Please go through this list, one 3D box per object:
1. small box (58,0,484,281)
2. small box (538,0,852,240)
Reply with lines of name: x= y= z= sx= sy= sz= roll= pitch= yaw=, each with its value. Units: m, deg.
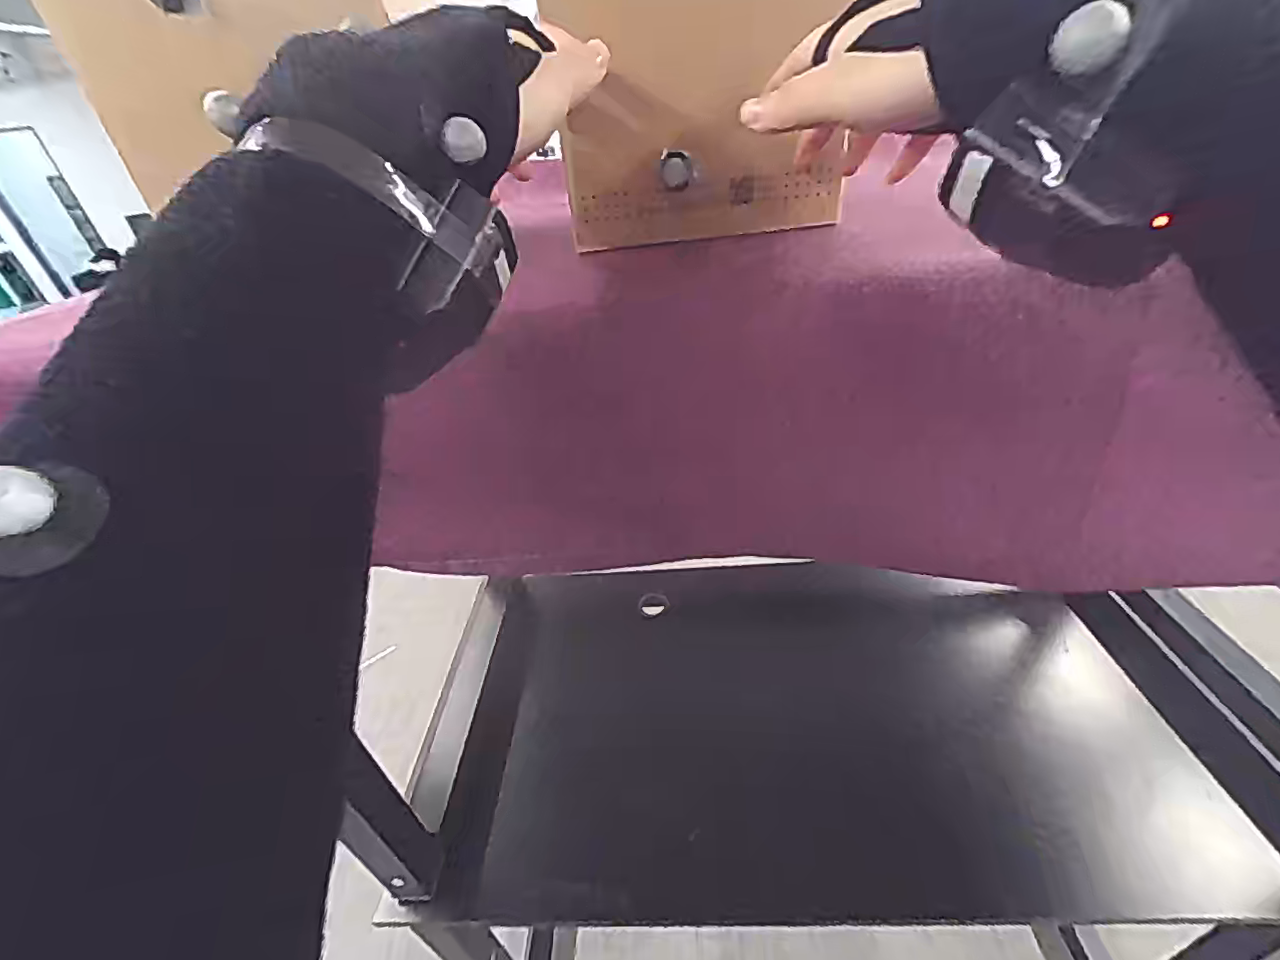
small box: x=-0.213 y=-0.242 z=0.364 sx=0.168 sy=0.176 sz=0.179 roll=-9 pitch=33 yaw=-1
small box: x=0.030 y=-0.268 z=0.360 sx=0.168 sy=0.176 sz=0.179 roll=-6 pitch=35 yaw=3
